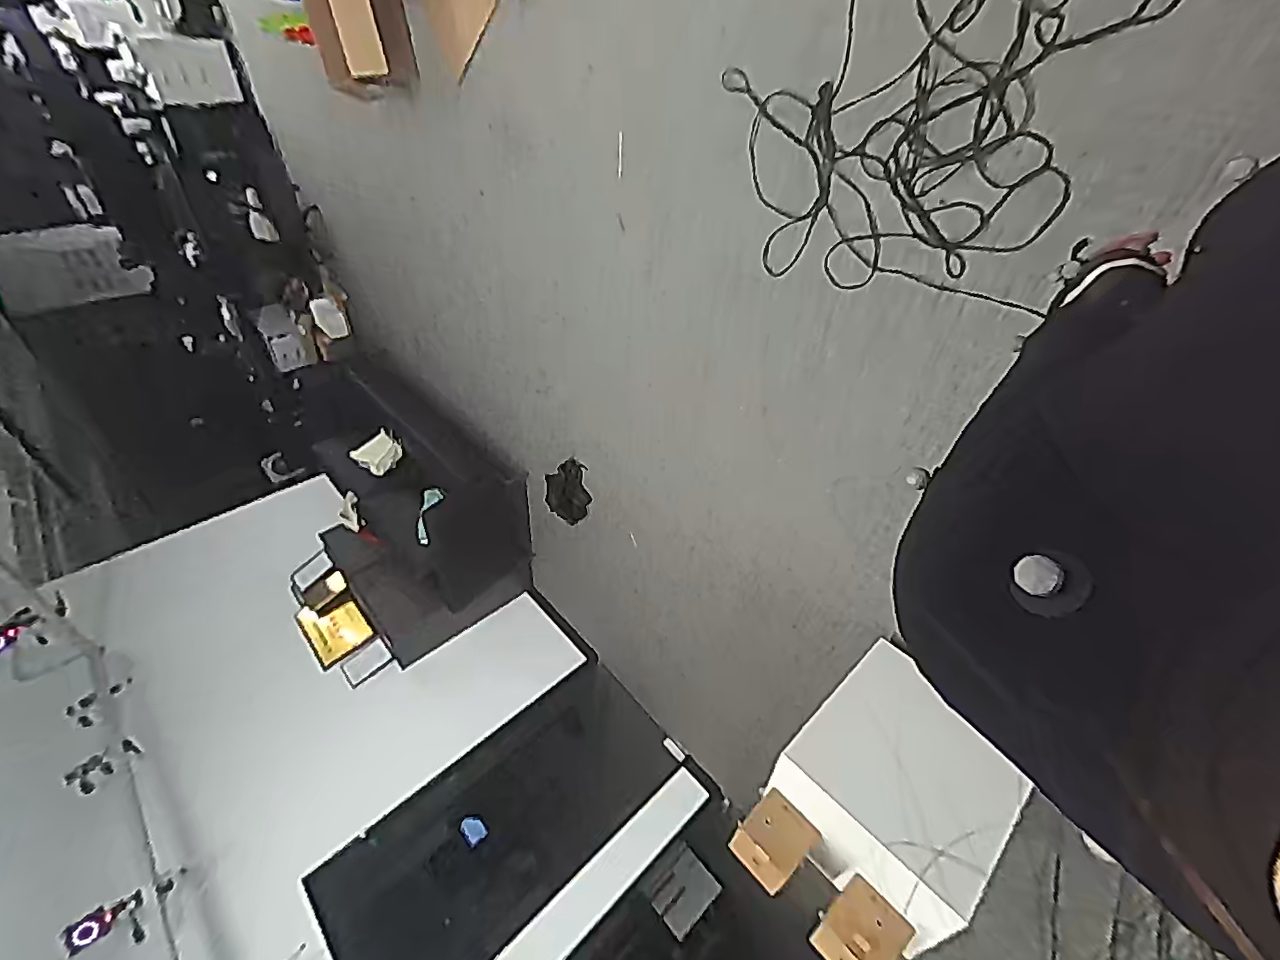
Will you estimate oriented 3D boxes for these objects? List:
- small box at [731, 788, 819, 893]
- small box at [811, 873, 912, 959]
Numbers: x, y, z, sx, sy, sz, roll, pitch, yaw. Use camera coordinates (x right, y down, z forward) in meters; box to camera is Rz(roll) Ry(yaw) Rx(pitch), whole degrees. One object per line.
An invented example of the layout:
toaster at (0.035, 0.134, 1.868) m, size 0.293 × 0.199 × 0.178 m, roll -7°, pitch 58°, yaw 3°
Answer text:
small box at (0.392, 1.038, 1.566) m, size 0.168 × 0.176 × 0.179 m, roll 38°, pitch 142°, yaw 32°
small box at (0.583, 1.193, 1.422) m, size 0.168 × 0.176 × 0.179 m, roll 36°, pitch 139°, yaw 35°
